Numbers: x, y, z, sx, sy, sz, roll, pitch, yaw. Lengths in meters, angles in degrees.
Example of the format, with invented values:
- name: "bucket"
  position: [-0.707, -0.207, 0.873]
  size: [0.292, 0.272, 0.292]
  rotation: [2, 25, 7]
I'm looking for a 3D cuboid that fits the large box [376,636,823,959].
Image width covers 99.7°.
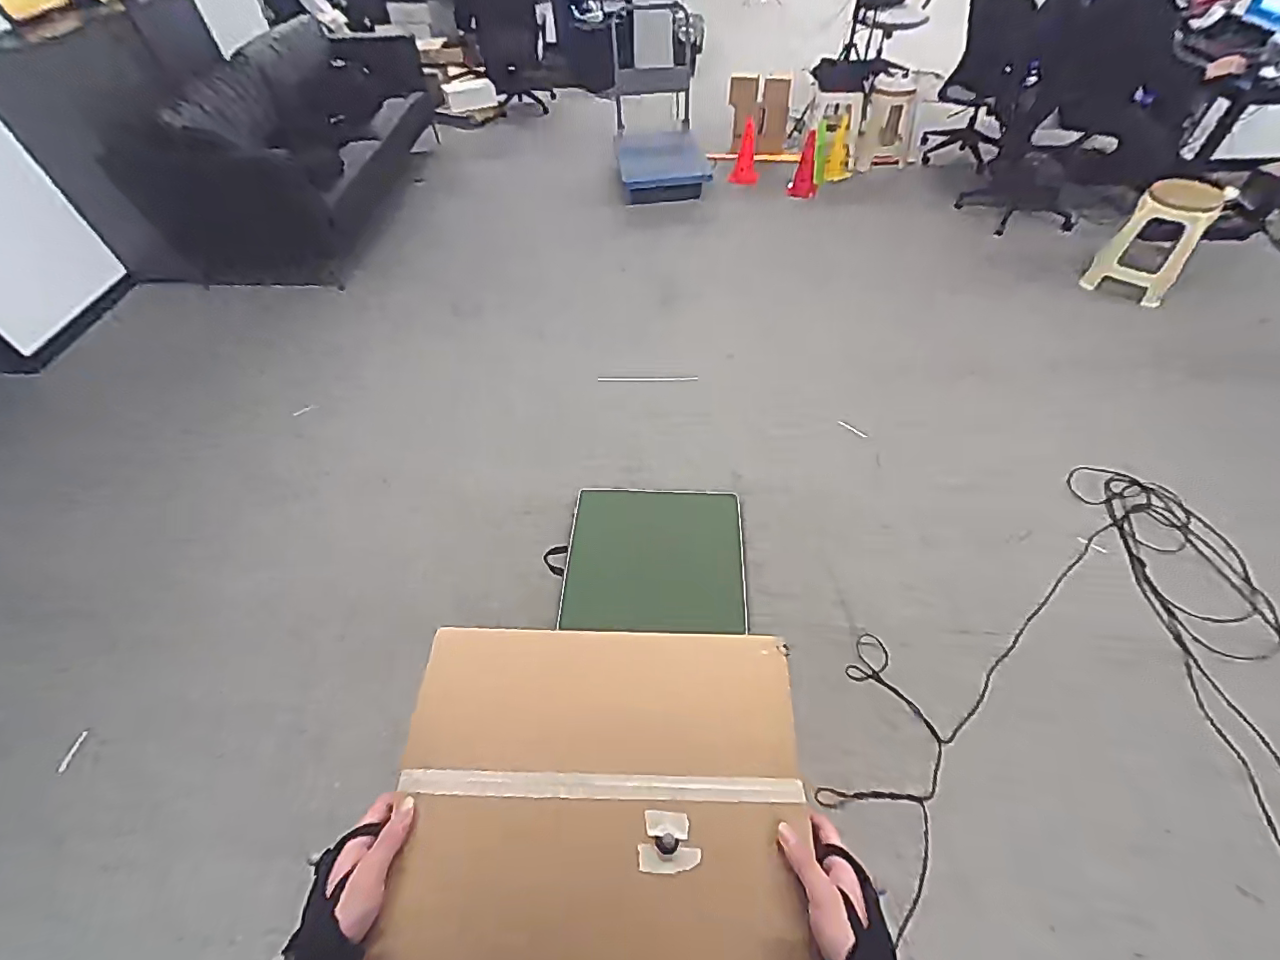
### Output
- name: "large box"
  position: [-0.037, 0.400, 0.674]
  size: [0.408, 0.320, 0.320]
  rotation: [1, 56, 0]
